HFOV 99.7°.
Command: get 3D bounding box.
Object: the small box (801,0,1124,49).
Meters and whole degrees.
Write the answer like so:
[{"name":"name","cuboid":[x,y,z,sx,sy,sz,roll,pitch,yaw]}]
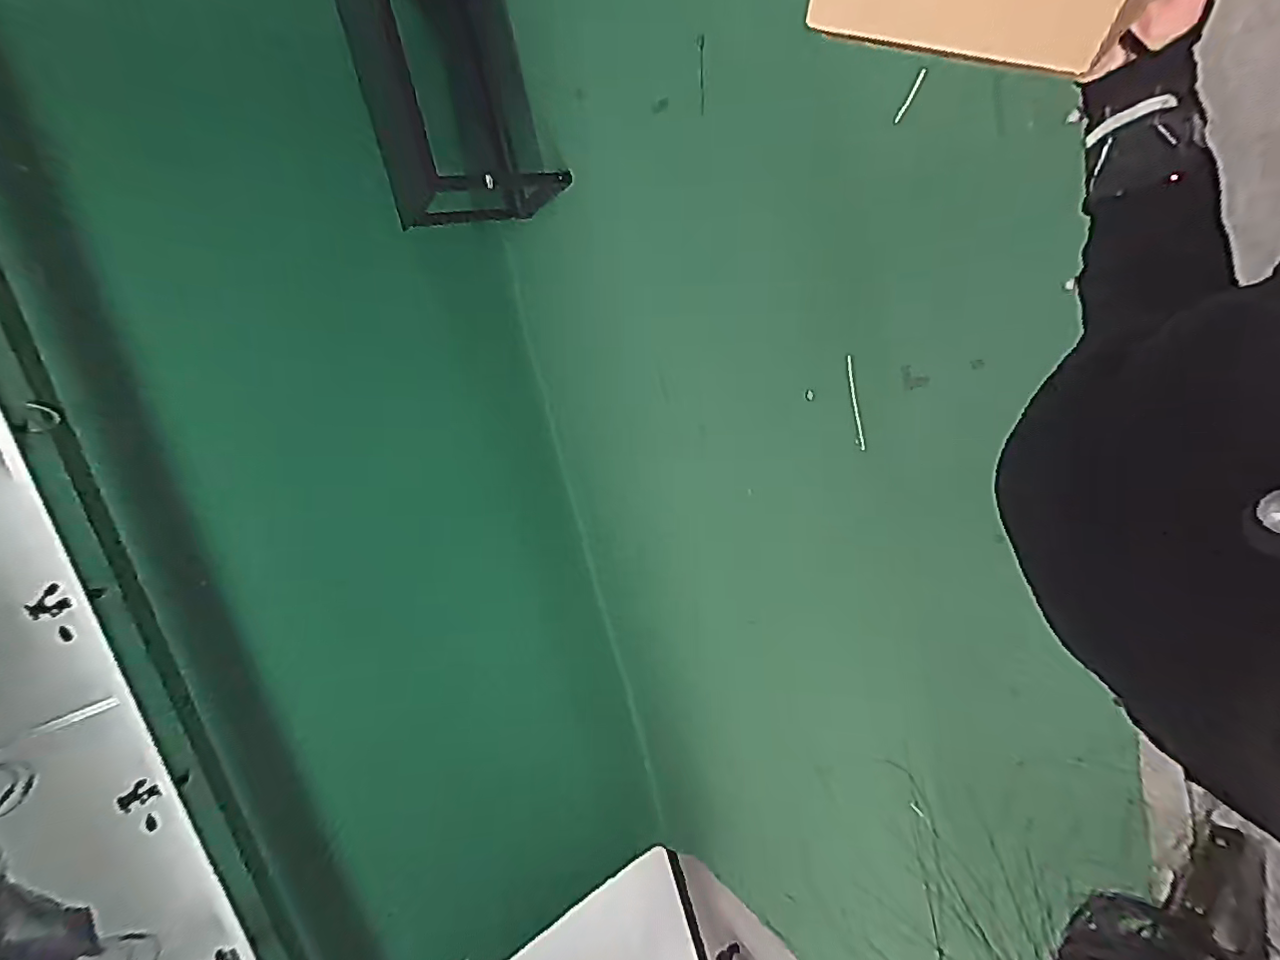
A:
[{"name":"small box","cuboid":[0.219,-0.375,0.300,0.179,0.168,0.176,30,149,23]}]
